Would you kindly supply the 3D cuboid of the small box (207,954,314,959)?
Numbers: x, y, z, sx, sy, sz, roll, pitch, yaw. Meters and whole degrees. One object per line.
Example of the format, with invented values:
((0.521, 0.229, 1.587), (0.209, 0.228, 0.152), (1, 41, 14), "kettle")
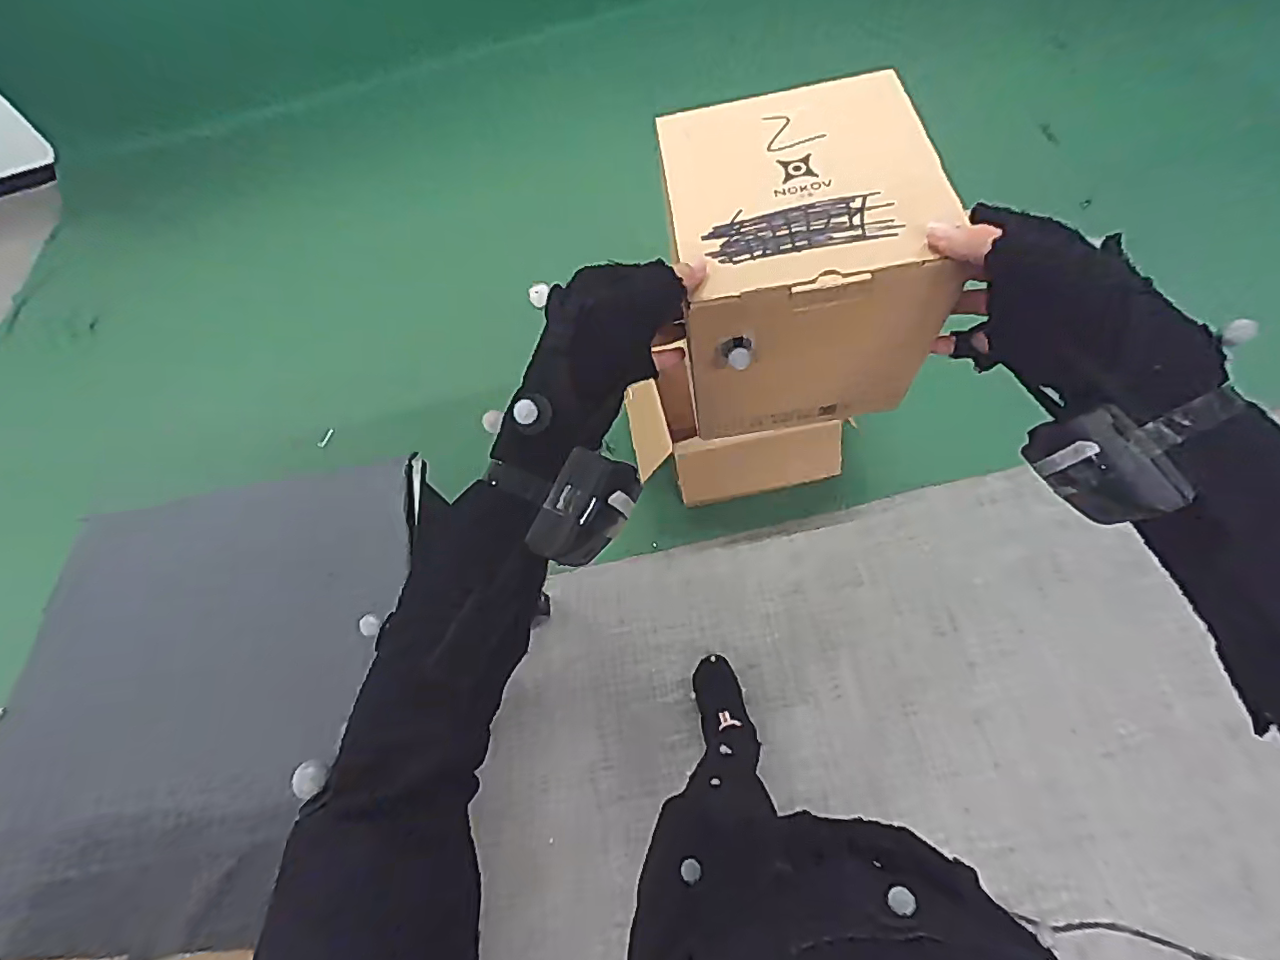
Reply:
((-0.428, 0.543, 0.469), (0.179, 0.176, 0.168), (-9, 61, 6), "small box")
